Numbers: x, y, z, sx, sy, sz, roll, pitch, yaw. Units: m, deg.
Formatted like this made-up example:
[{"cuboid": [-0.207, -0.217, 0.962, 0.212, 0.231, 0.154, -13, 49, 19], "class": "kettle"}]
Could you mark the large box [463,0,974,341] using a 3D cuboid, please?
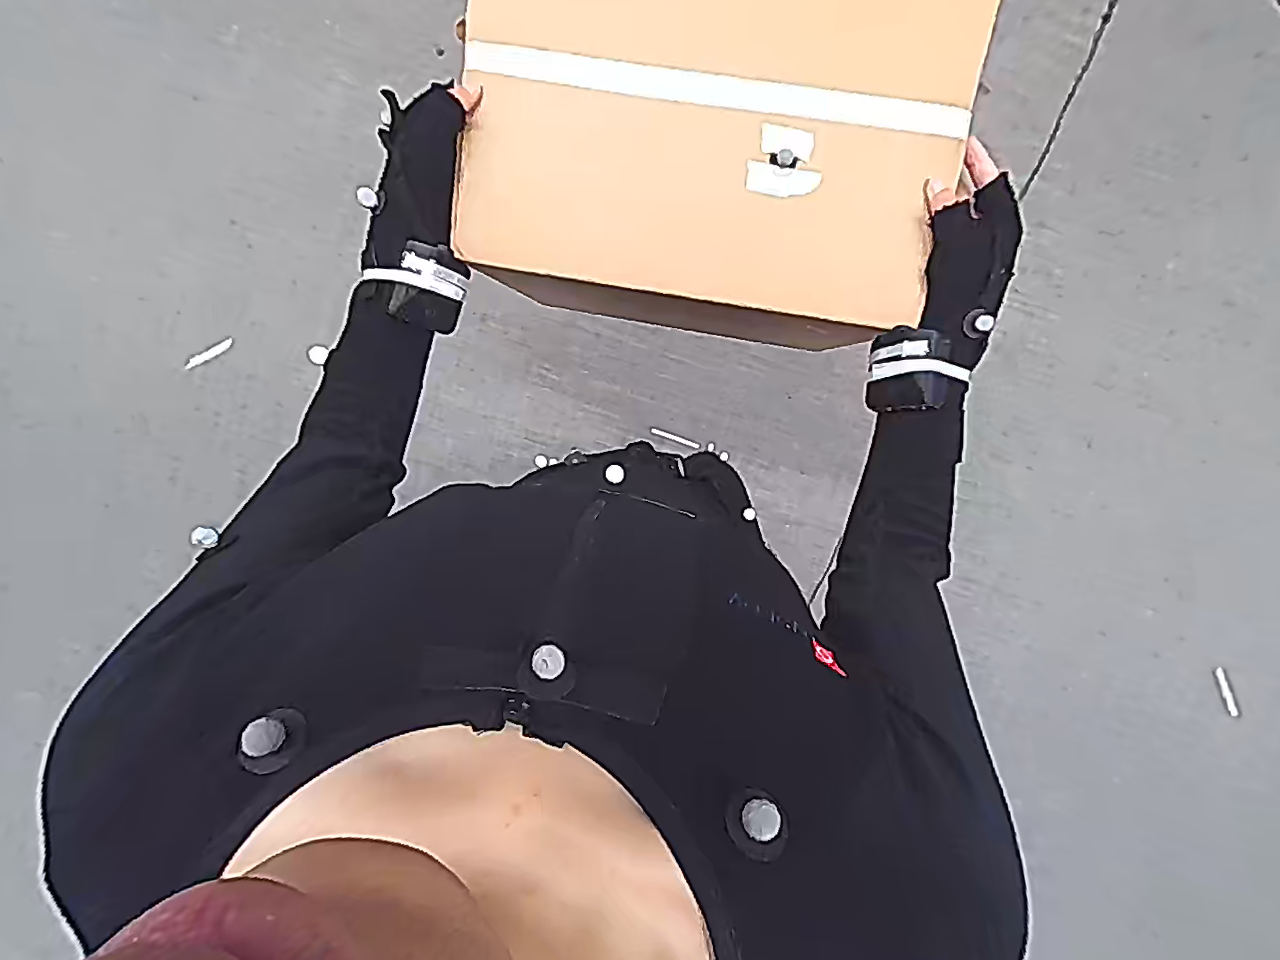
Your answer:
[{"cuboid": [0.063, -0.343, 0.597, 0.408, 0.320, 0.320, 9, 102, 2], "class": "large box"}]
